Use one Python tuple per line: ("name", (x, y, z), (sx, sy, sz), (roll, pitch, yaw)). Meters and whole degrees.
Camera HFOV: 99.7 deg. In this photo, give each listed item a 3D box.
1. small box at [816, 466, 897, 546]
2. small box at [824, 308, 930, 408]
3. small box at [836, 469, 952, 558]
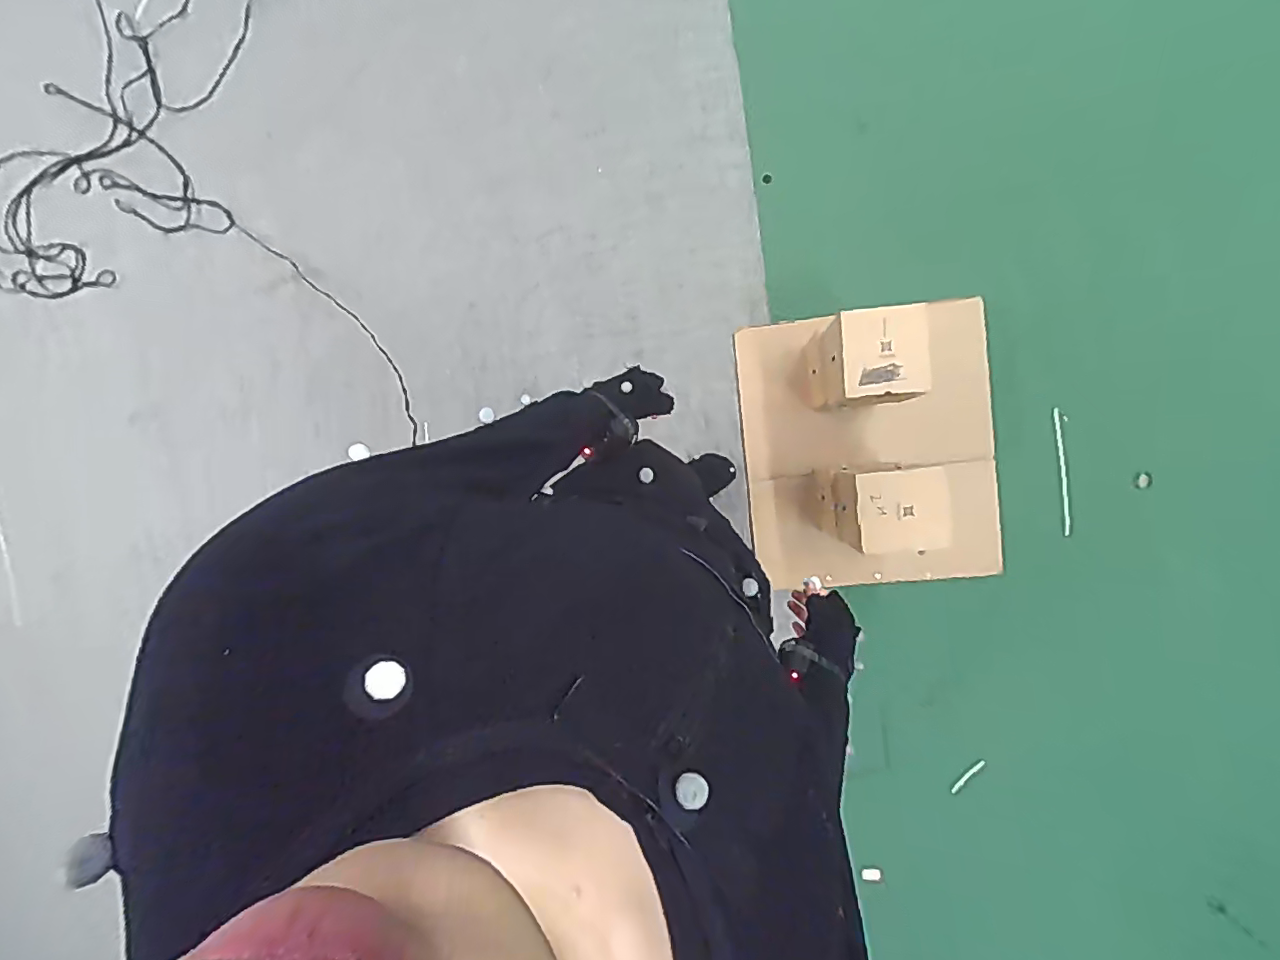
("small box", (0.540, 0.057, 1.314), (0.179, 0.176, 0.168), (-7, 92, 8))
("small box", (0.490, -0.246, 1.137), (0.168, 0.176, 0.179), (-3, 90, 7))
("small box", (0.531, 0.065, 1.149), (0.179, 0.176, 0.168), (-5, 91, 8))
